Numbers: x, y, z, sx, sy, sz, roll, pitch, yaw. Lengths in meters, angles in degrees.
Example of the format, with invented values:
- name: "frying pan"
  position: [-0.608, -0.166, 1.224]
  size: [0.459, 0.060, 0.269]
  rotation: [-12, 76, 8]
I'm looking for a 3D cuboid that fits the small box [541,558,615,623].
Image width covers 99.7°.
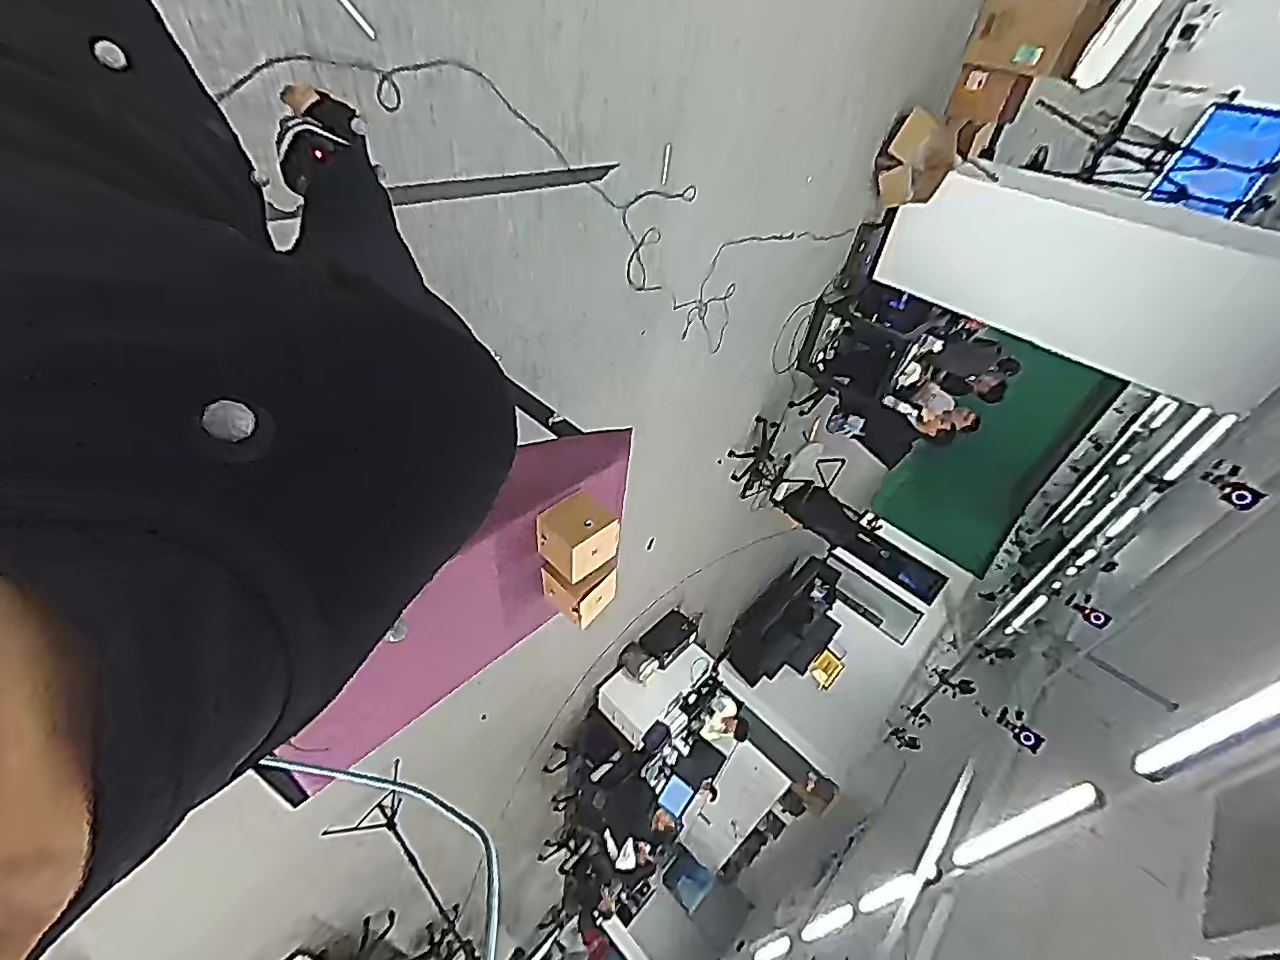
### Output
- name: "small box"
  position: [-0.204, 0.323, 1.775]
  size: [0.179, 0.176, 0.168]
  rotation: [-34, 146, -33]

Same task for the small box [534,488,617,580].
- name: "small box"
  position: [-0.192, 0.154, 1.603]
  size: [0.179, 0.176, 0.168]
  rotation: [-33, 146, -34]
